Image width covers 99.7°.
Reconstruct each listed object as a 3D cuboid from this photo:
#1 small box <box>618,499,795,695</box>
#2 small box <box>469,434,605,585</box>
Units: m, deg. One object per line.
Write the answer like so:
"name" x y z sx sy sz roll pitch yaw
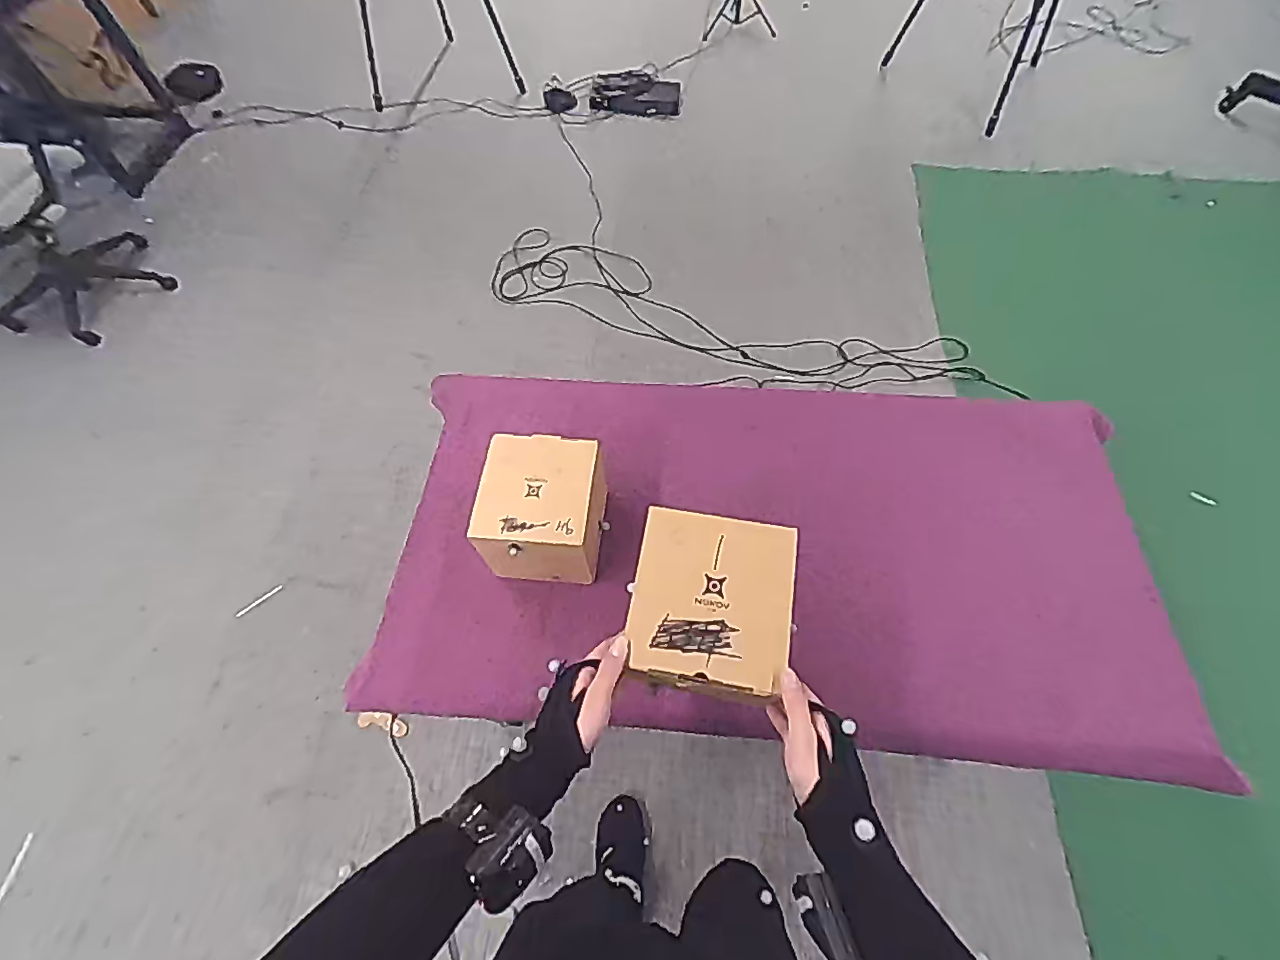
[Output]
"small box" 0.078 0.145 0.638 0.168 0.176 0.179 9 64 7
"small box" -0.150 0.049 0.858 0.168 0.176 0.179 5 60 4
